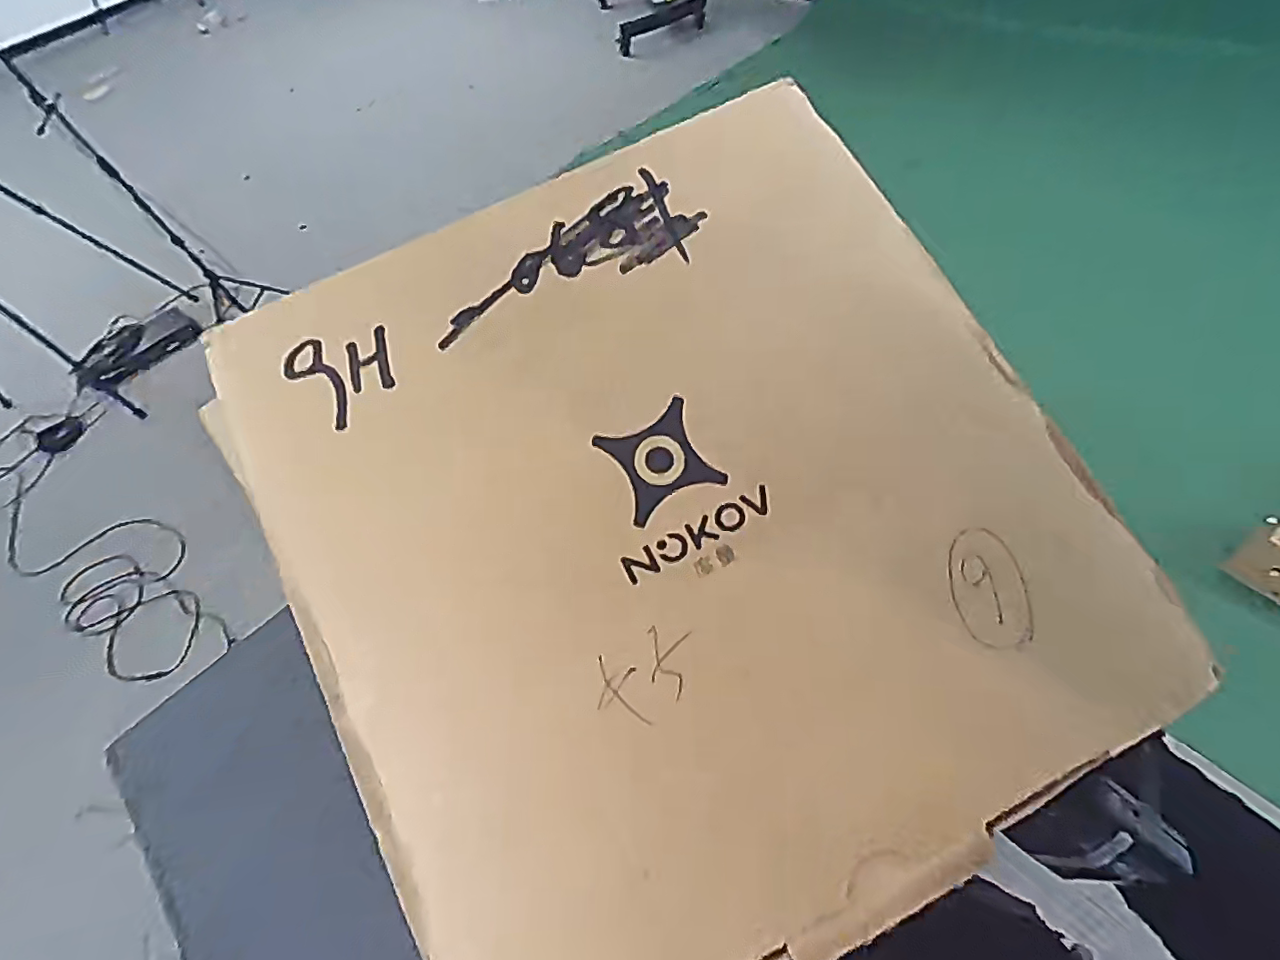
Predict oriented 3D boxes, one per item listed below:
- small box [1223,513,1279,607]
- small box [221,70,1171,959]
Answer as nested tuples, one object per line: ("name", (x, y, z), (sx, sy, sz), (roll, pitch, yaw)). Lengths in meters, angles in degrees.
("small box", (1.555, 0.185, 1.274), (0.179, 0.176, 0.168), (-37, 58, -15))
("small box", (0.006, 0.014, 0.203), (0.168, 0.176, 0.179), (-25, 79, -5))
